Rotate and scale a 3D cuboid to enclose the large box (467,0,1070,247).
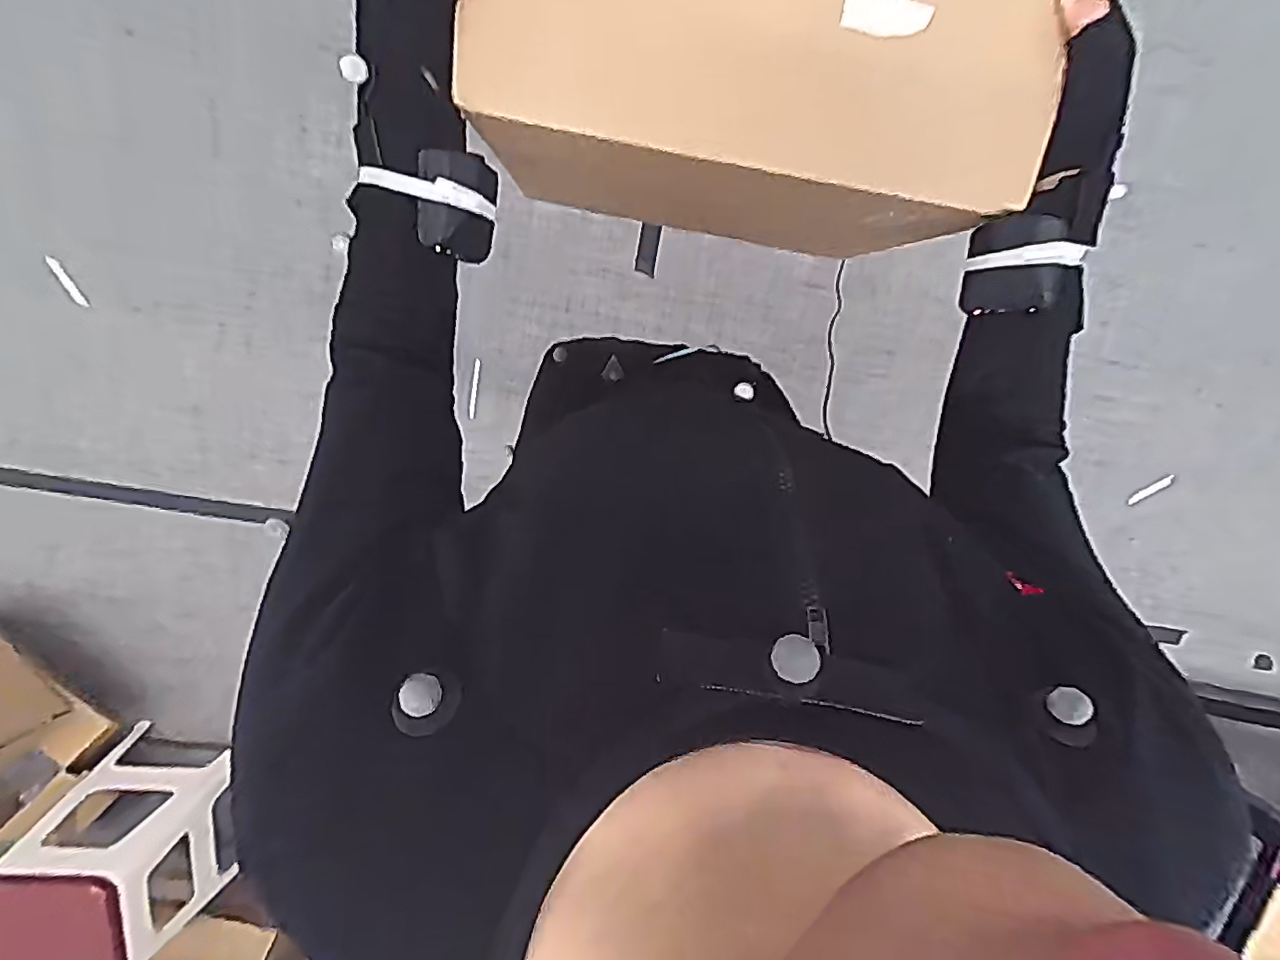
[{"bbox_3d":[0.089,-0.417,0.481,0.408,0.320,0.320,8,108,-6],"label":"large box"}]
